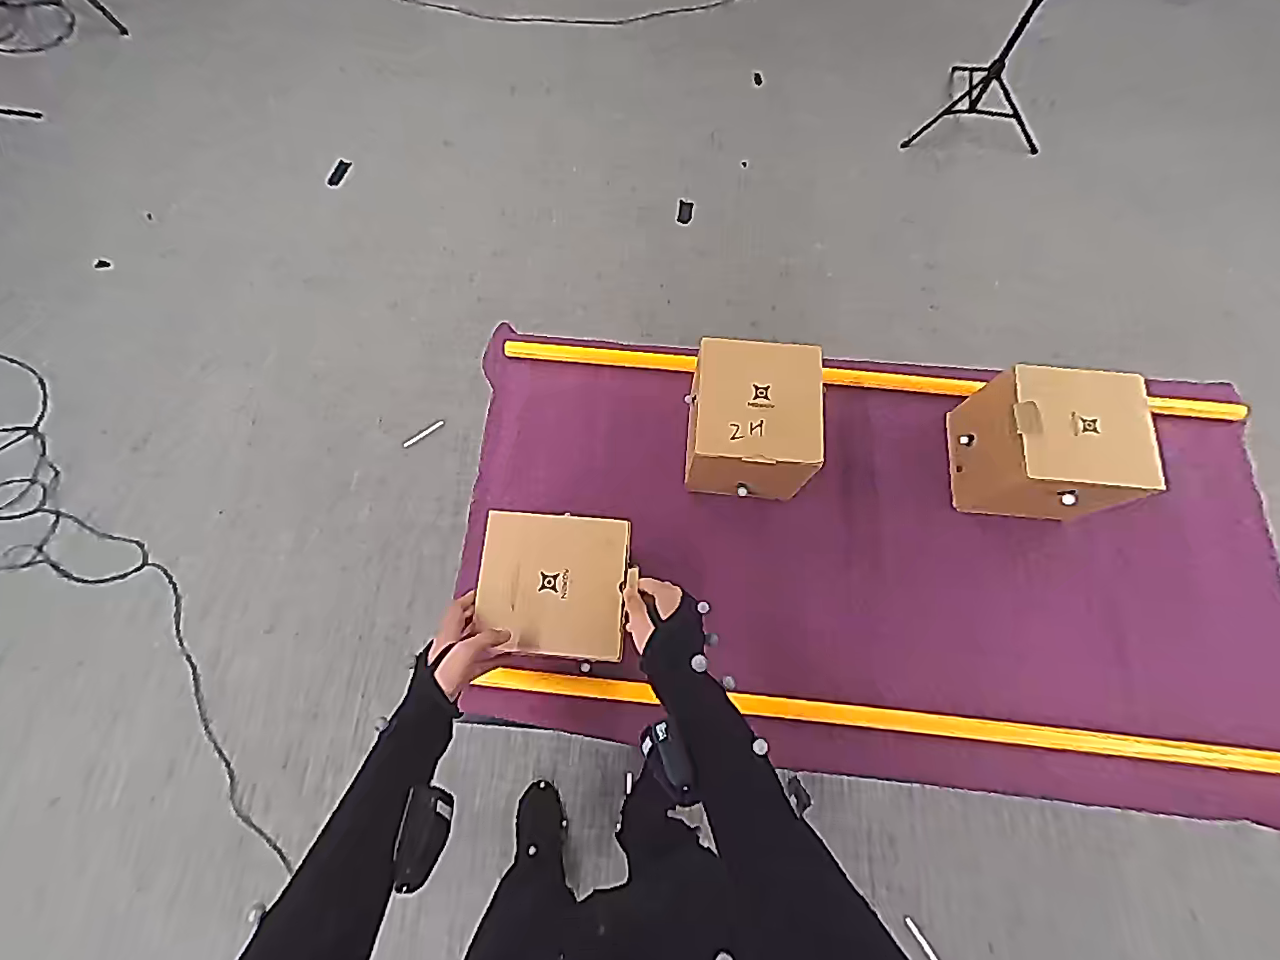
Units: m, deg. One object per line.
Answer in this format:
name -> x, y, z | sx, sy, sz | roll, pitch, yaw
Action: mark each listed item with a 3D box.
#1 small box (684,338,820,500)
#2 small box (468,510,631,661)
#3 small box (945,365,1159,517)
small box -> 0.156, -0.082, 0.794 | 0.168, 0.176, 0.179 | 5, 73, 2
small box -> -0.107, 0.147, 0.713 | 0.179, 0.176, 0.168 | 4, 70, -1
small box -> 0.577, -0.047, 0.782 | 0.179, 0.176, 0.168 | 5, 72, 2
